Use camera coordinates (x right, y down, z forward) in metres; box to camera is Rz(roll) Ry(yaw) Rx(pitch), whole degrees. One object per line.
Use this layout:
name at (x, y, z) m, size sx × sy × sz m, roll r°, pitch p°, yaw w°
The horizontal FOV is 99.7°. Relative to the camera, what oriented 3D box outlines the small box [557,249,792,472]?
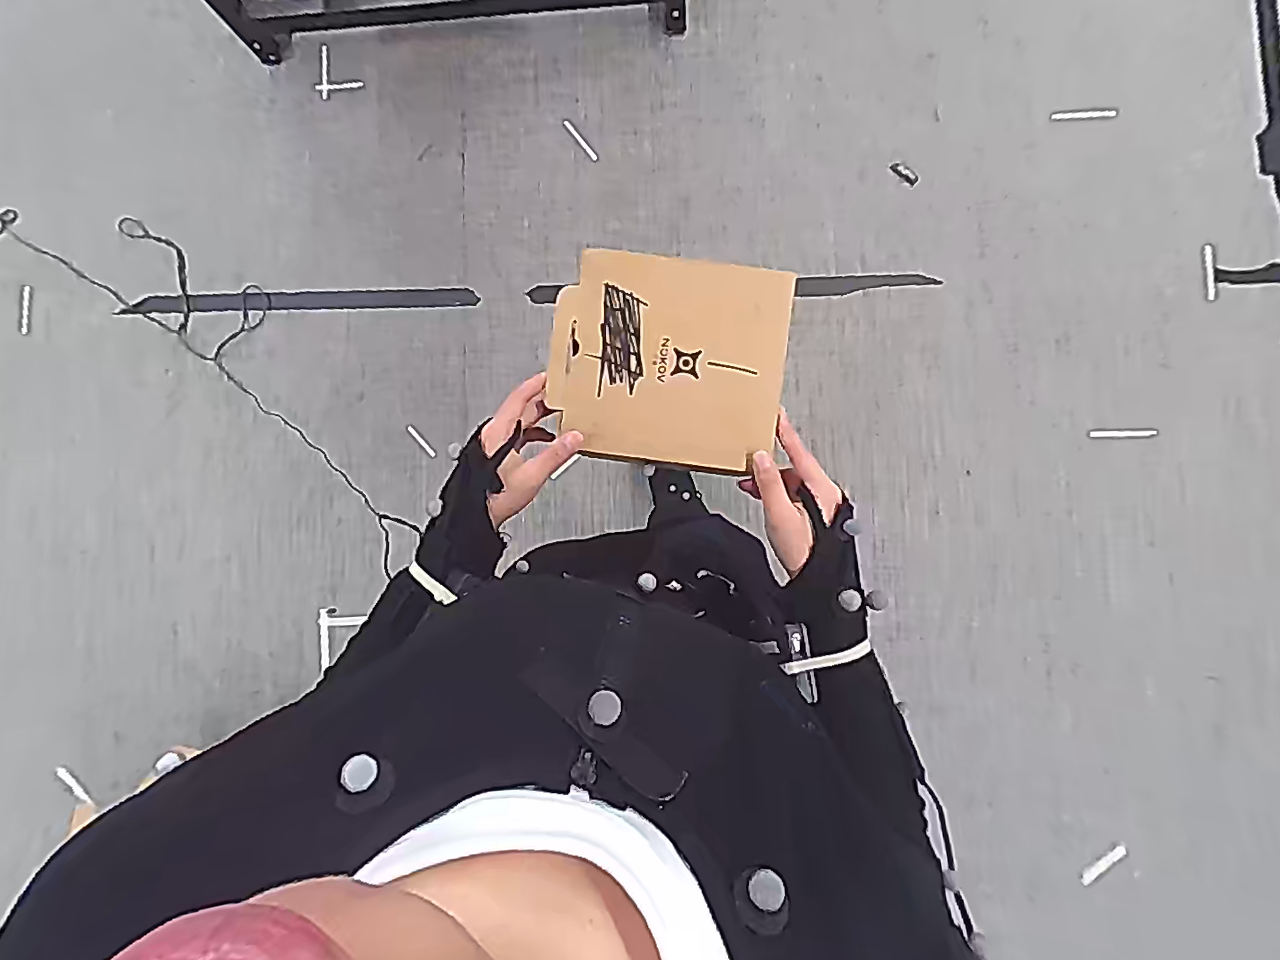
small box at (0.030, -0.098, 0.519) m, size 0.179 × 0.176 × 0.168 m, roll 7°, pitch 91°, yaw 1°
